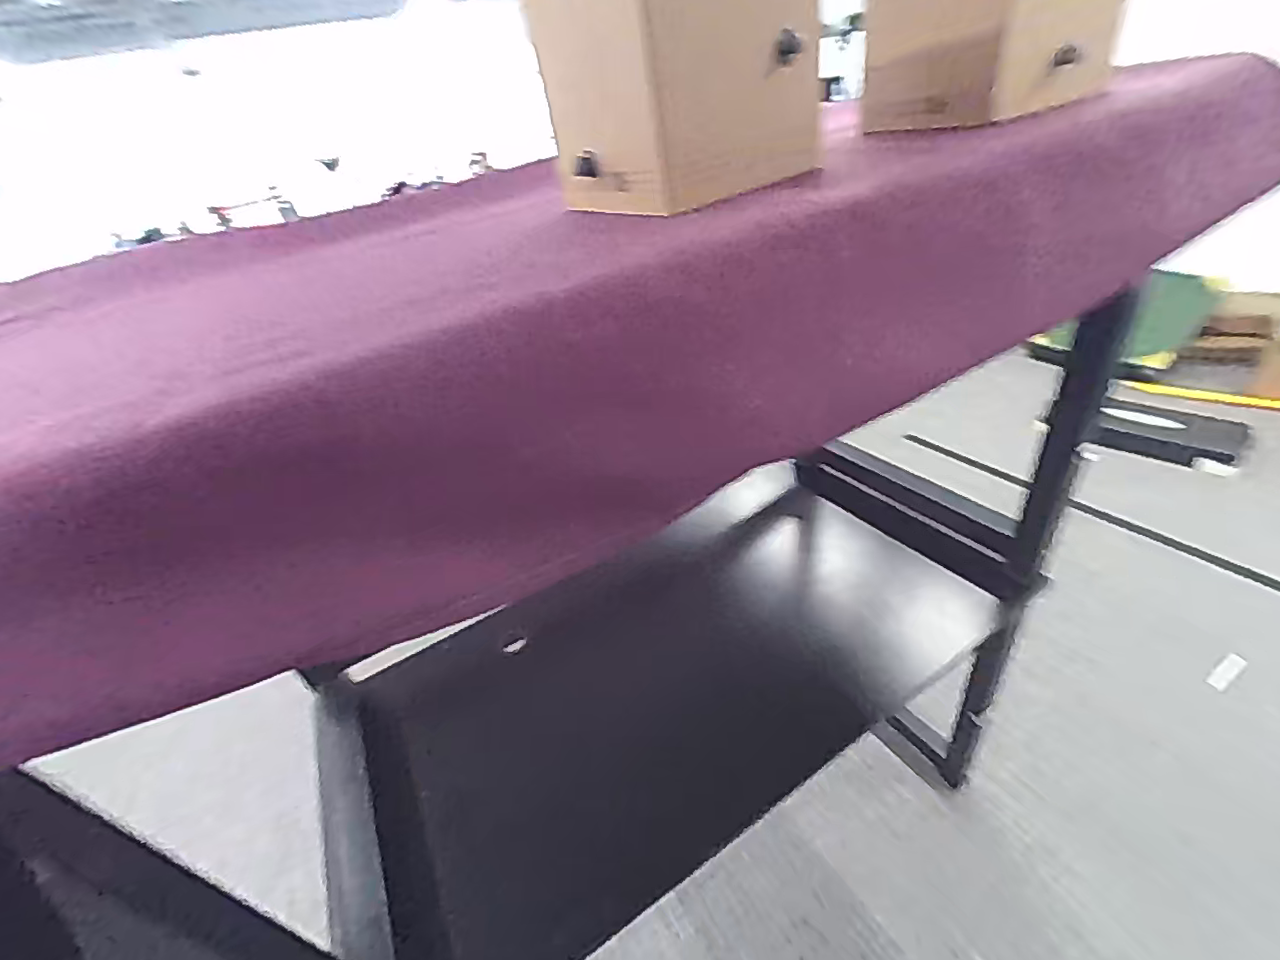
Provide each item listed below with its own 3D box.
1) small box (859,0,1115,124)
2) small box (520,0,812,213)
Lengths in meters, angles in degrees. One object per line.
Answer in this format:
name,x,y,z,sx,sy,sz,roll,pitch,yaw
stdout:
small box,0.339,-0.467,0.537,0.179,0.176,0.168,-24,35,-17
small box,0.025,-0.337,0.452,0.179,0.176,0.168,-30,37,-24
